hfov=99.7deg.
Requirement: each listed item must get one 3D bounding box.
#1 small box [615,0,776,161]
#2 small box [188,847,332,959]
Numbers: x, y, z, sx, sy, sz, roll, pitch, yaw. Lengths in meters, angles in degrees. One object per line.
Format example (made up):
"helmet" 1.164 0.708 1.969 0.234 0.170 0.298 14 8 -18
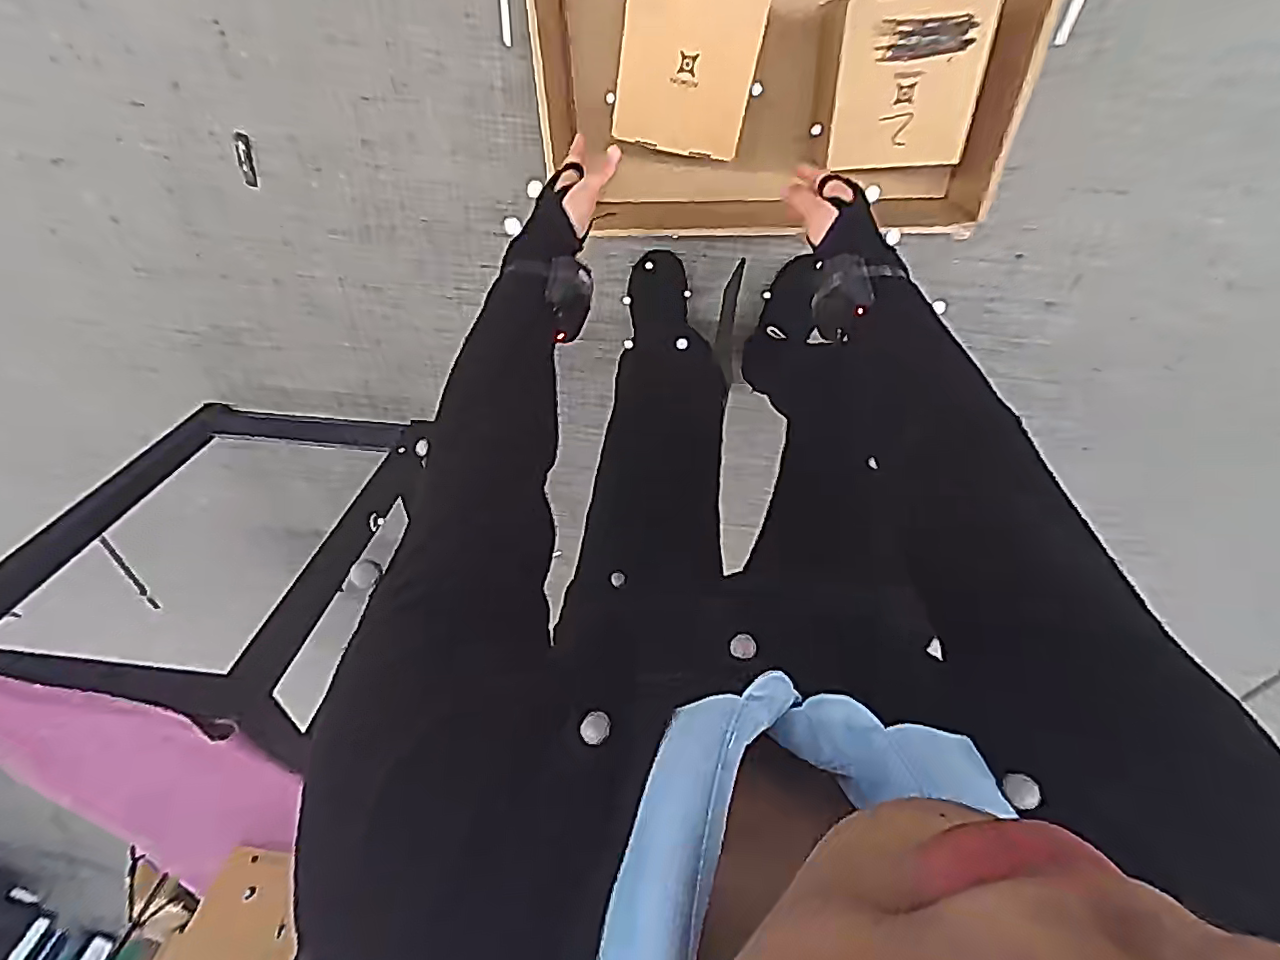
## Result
"small box" 0.065 -0.548 0.713 0.168 0.176 0.179 9 130 -3
"small box" -0.815 0.931 1.183 0.168 0.176 0.179 7 131 2
